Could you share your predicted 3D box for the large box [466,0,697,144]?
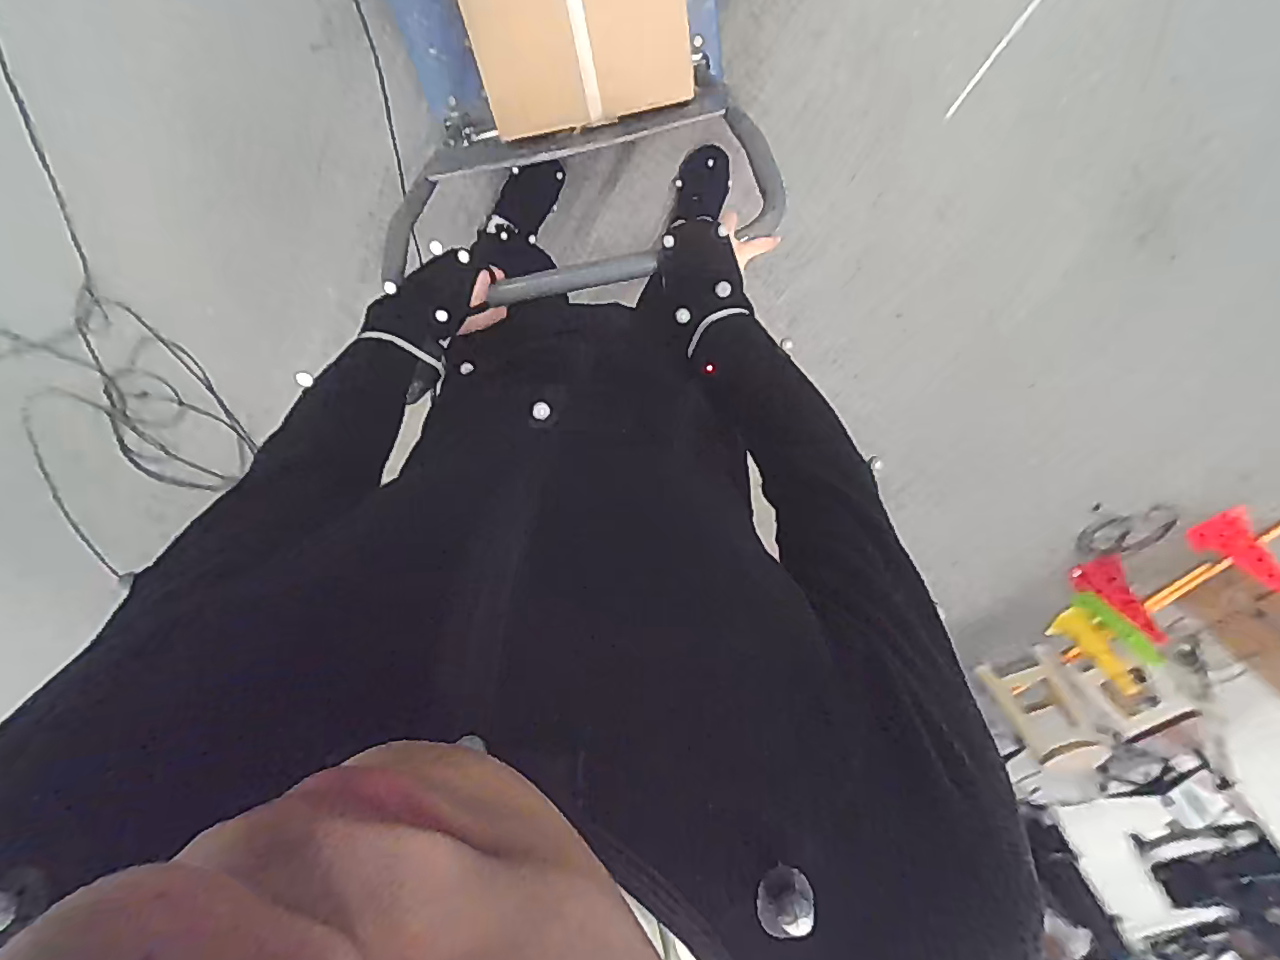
[{"bbox_3d":[-0.101,-0.810,0.844,0.320,0.320,0.408,-9,132,5],"label":"large box"}]
